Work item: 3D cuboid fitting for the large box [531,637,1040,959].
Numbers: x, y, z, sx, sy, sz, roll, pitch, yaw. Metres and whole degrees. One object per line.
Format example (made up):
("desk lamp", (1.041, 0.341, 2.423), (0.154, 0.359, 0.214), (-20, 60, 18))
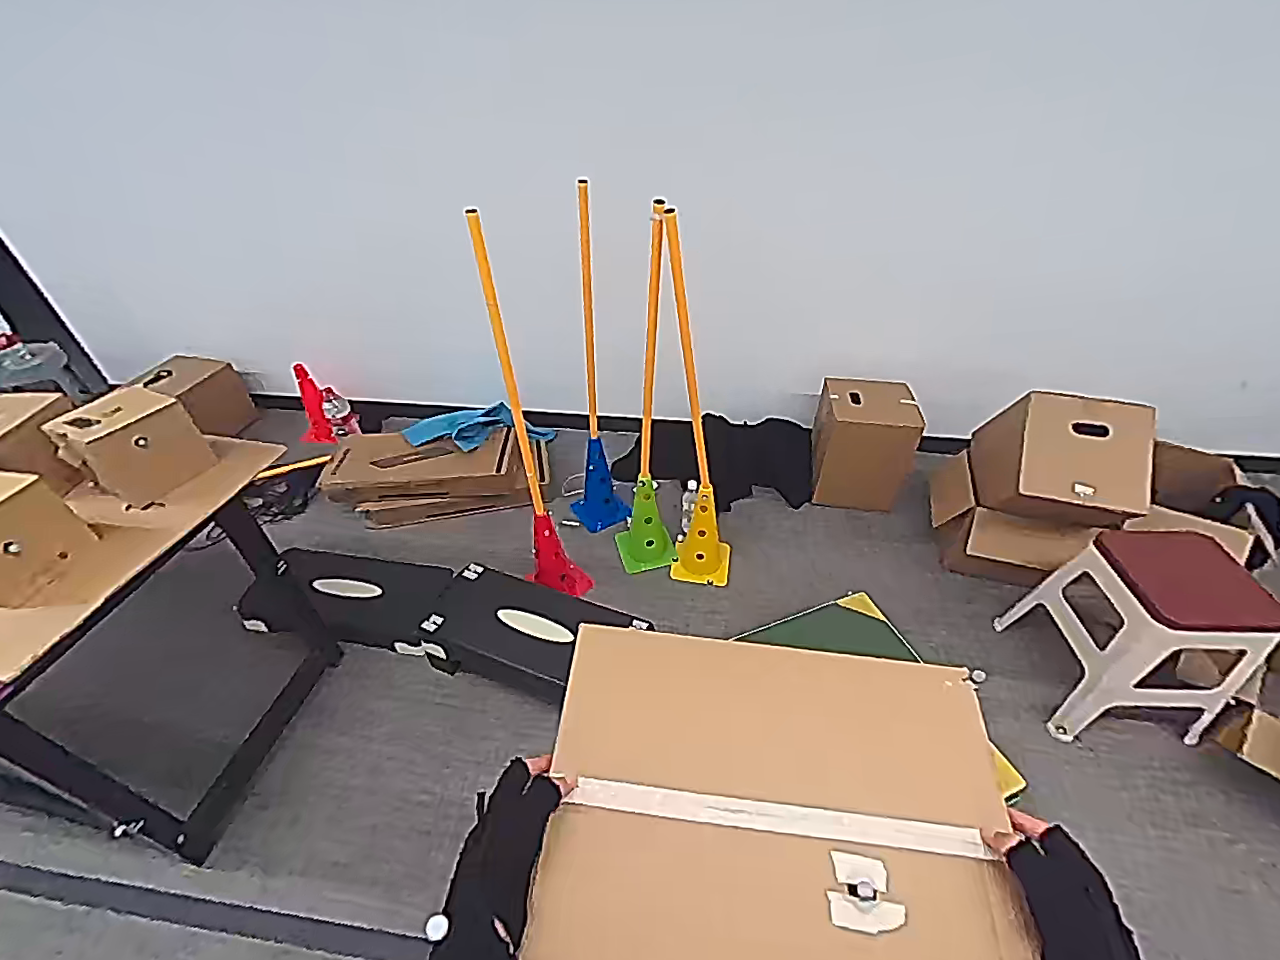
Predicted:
("large box", (0.121, 0.399, 0.594), (0.408, 0.320, 0.320), (6, 51, 4))
